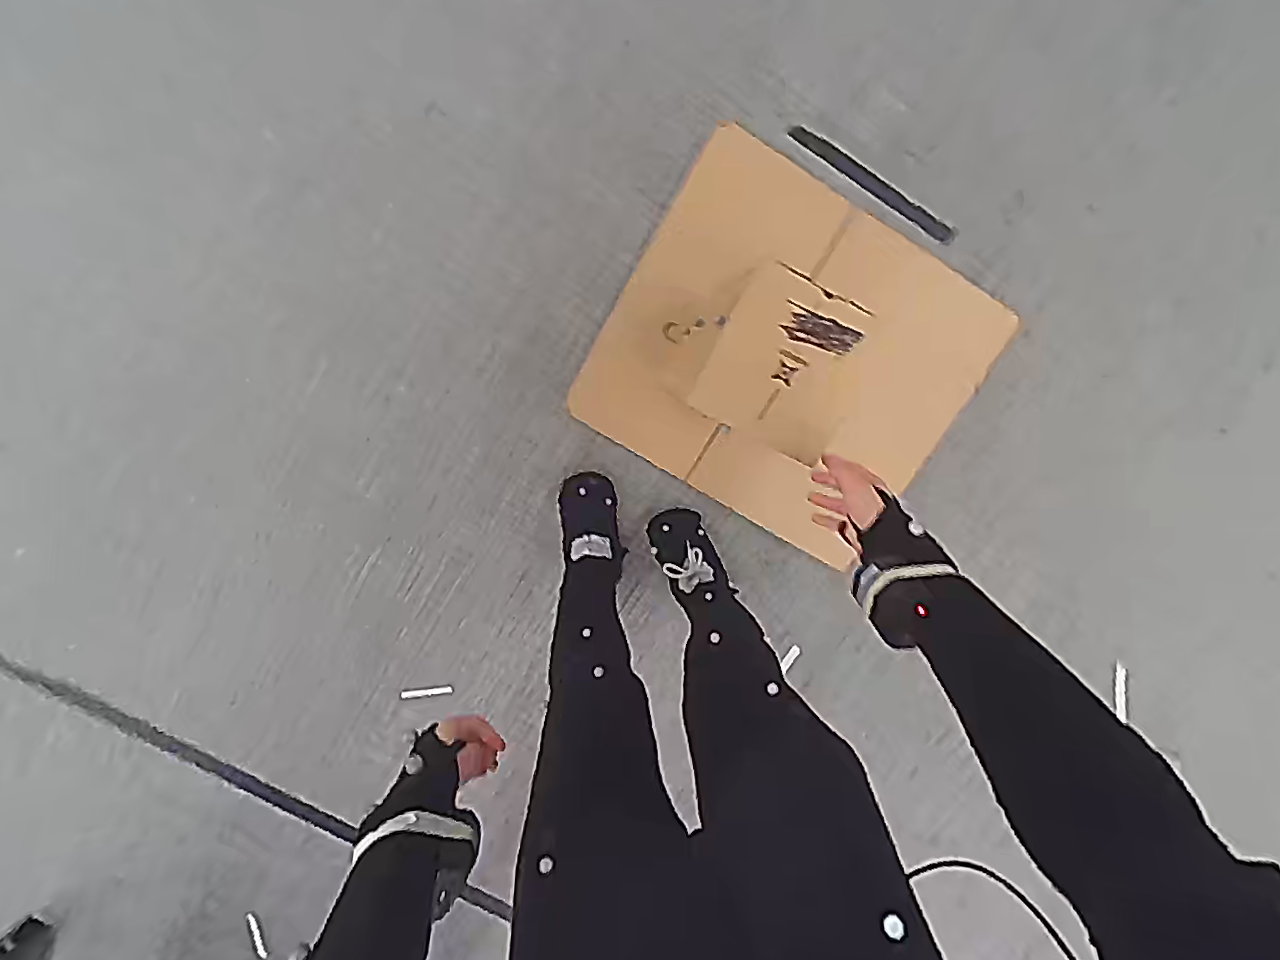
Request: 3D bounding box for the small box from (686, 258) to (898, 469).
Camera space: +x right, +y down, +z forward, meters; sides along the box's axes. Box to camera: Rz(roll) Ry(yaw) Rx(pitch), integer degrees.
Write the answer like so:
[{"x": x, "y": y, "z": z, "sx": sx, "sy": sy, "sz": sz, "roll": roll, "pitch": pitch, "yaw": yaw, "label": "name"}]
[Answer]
[{"x": 0.165, "y": -0.140, "z": 0.661, "sx": 0.168, "sy": 0.176, "sz": 0.179, "roll": 26, "pitch": 103, "yaw": -6, "label": "small box"}]
